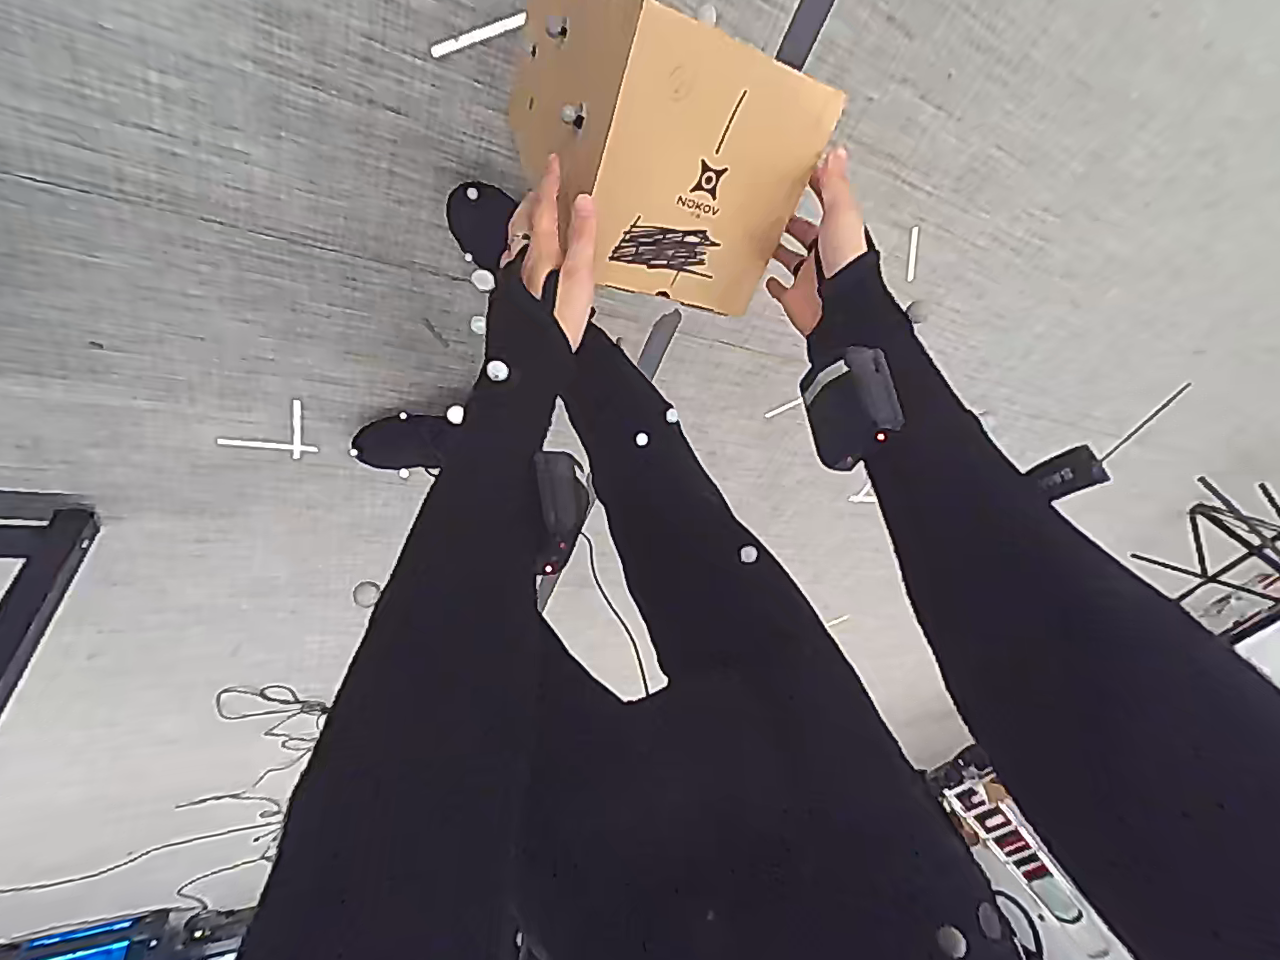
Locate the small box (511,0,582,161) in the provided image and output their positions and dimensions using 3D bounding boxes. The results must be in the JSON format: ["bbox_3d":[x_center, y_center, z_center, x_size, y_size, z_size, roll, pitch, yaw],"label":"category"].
[{"bbox_3d":[-0.057,-0.495,0.674,0.168,0.176,0.179,5,132,-26],"label":"small box"}]

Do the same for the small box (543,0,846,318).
[{"bbox_3d":[0.024,-0.267,0.451,0.168,0.176,0.179,3,131,-26],"label":"small box"}]
